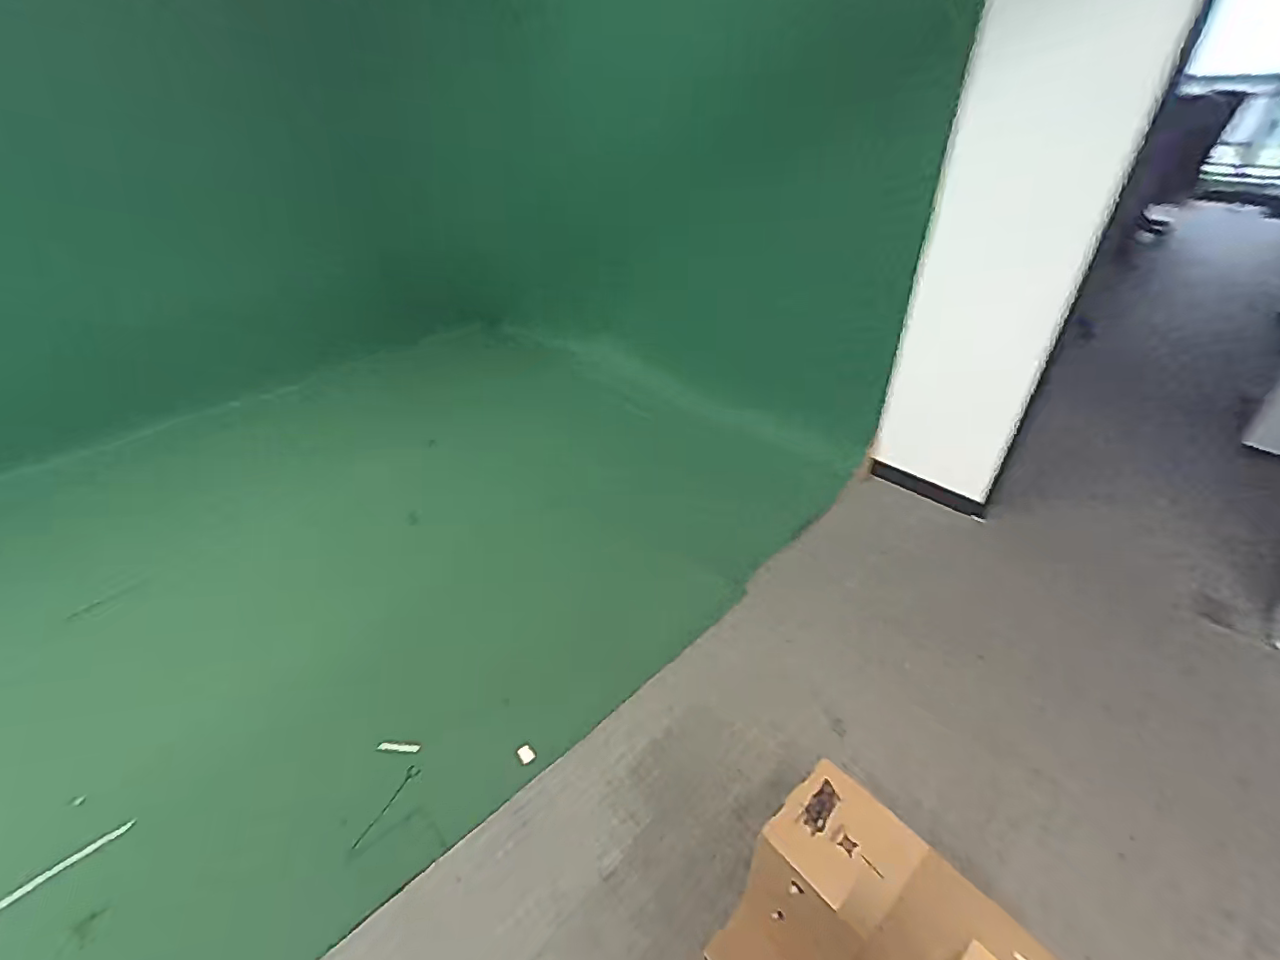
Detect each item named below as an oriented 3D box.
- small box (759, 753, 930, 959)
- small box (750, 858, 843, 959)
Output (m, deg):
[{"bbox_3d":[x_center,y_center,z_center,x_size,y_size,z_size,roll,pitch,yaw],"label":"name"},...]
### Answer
[{"bbox_3d":[0.300,0.574,0.827,0.168,0.176,0.179,-30,43,-30],"label":"small box"},{"bbox_3d":[0.306,0.703,0.932,0.179,0.176,0.168,-28,43,-30],"label":"small box"}]
